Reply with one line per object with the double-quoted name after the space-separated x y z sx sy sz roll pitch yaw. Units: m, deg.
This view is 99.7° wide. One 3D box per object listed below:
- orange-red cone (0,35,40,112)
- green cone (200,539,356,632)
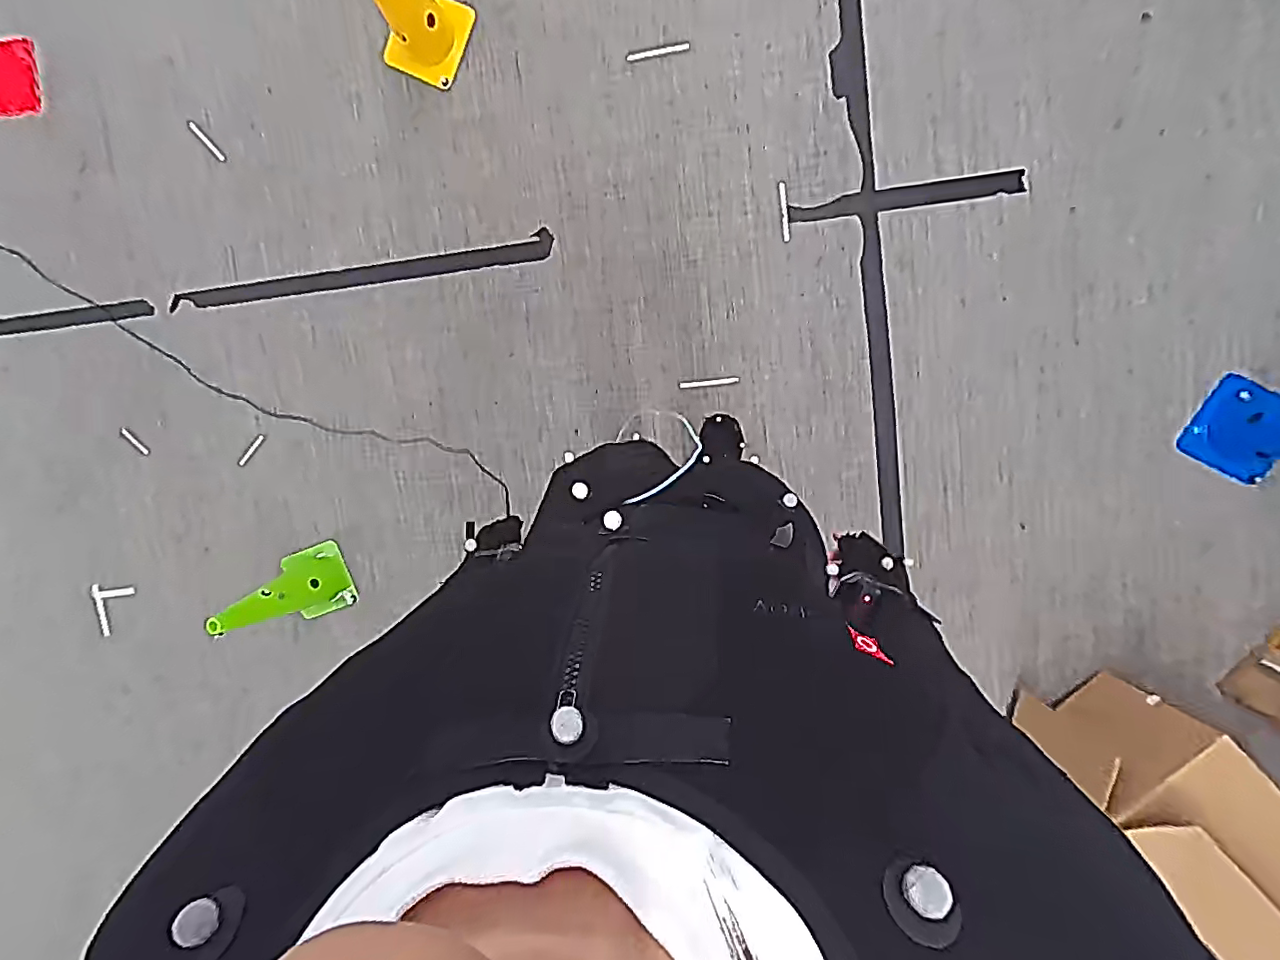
-1.839 -1.144 1.385 0.199 0.360 0.198 2 98 7 "orange-red cone"
-0.984 0.311 1.443 0.202 0.368 0.200 -21 93 11 "green cone"
